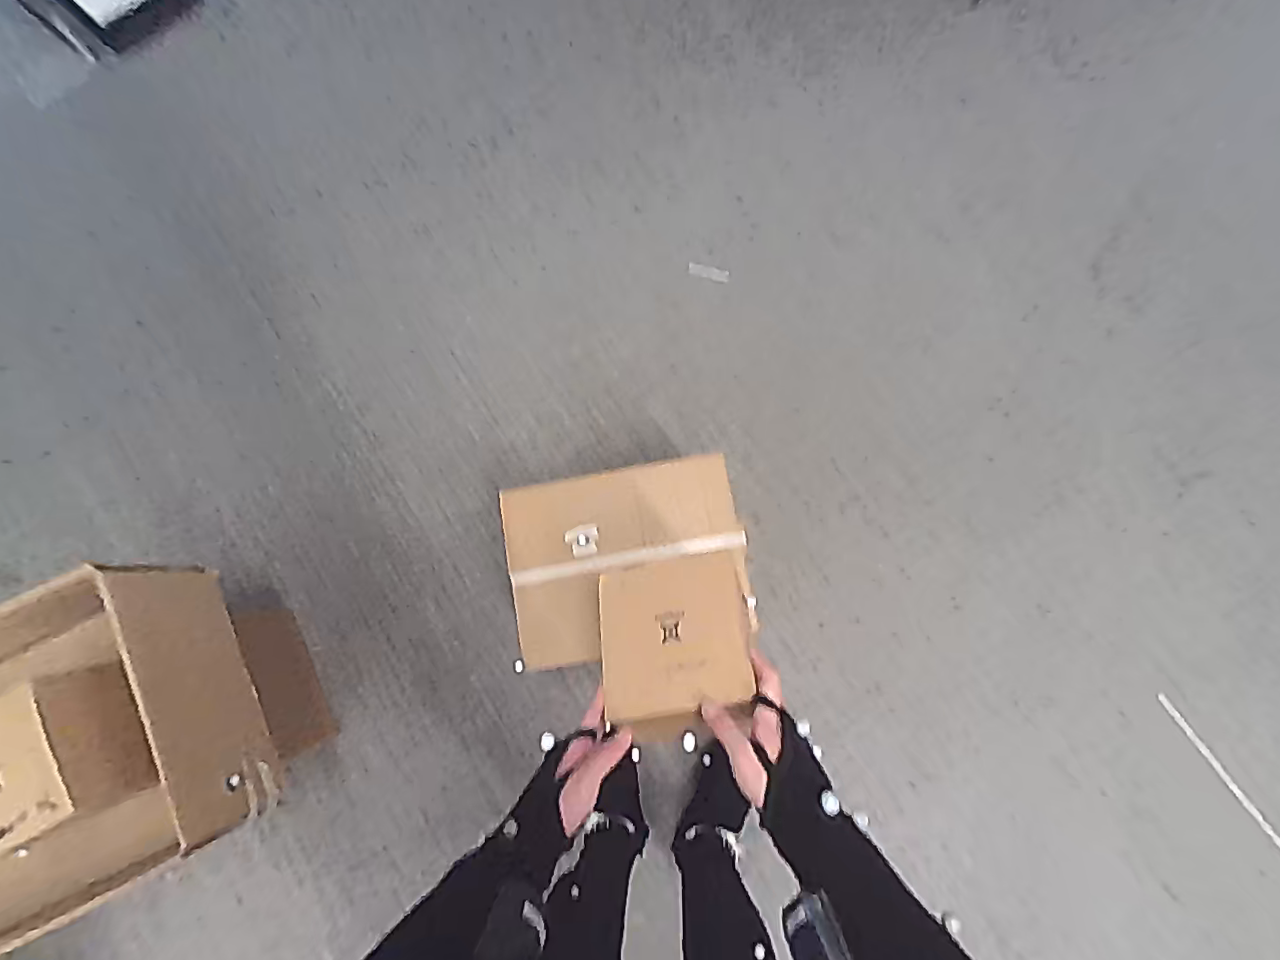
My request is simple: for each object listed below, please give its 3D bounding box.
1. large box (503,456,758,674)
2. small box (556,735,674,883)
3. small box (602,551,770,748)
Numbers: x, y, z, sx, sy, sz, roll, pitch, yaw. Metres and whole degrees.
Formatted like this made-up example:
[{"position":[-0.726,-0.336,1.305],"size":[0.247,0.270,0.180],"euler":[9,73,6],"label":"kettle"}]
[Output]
[{"position":[-0.013,0.162,1.074],"size":[0.408,0.320,0.320],"euler":[-10,80,2],"label":"large box"},{"position":[-0.050,0.651,1.089],"size":[0.179,0.176,0.168],"euler":[32,81,16],"label":"small box"},{"position":[0.057,0.212,0.659],"size":[0.168,0.176,0.179],"euler":[-13,55,10],"label":"small box"}]
